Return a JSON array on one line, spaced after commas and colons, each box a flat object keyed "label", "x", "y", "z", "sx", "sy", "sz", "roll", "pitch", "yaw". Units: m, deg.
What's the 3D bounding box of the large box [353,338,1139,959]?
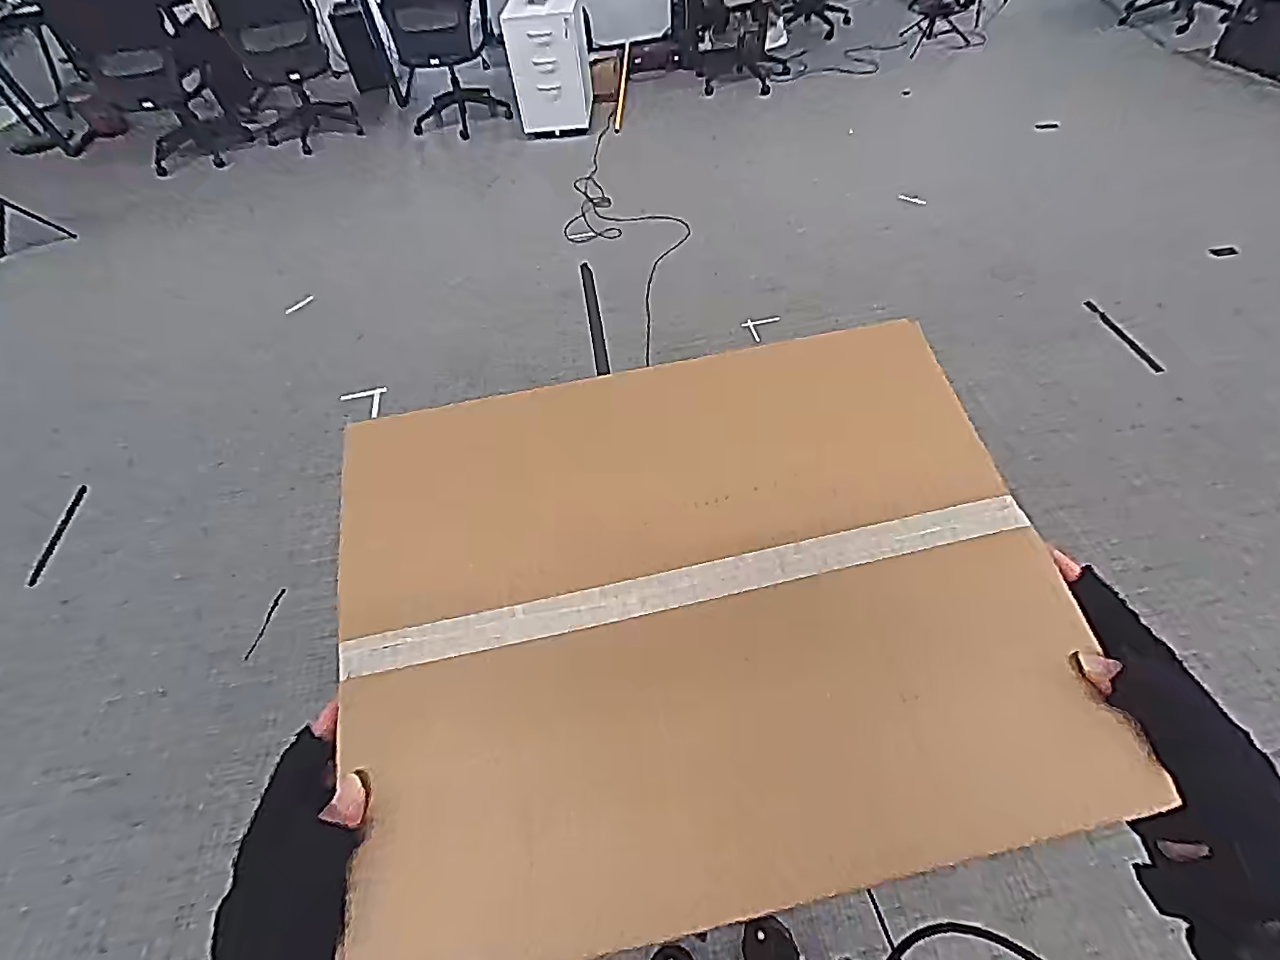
[{"label": "large box", "x": 0.037, "y": 0.133, "z": 0.456, "sx": 0.408, "sy": 0.320, "sz": 0.320, "roll": -12, "pitch": 65, "yaw": -3}]
